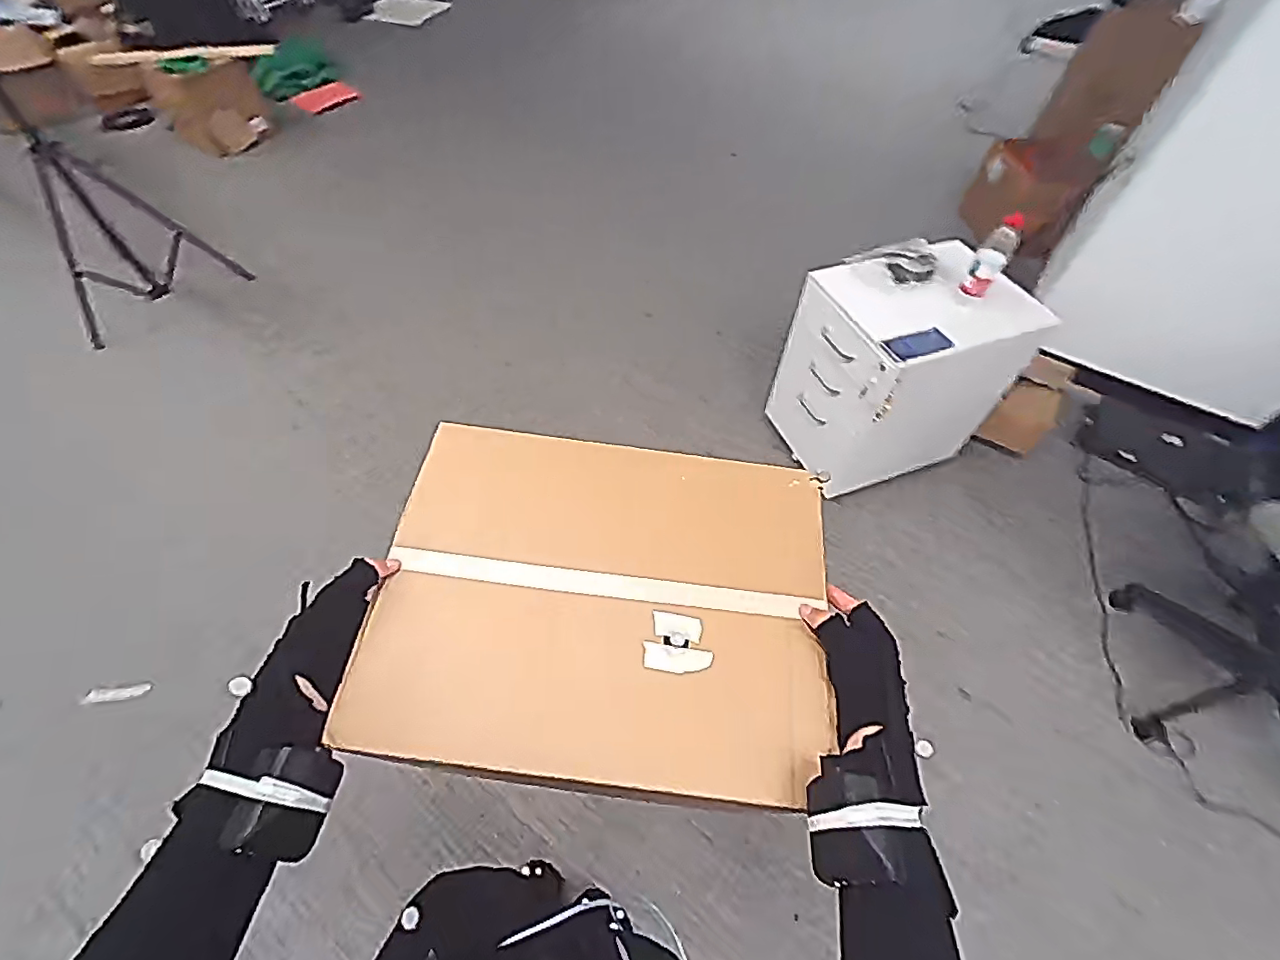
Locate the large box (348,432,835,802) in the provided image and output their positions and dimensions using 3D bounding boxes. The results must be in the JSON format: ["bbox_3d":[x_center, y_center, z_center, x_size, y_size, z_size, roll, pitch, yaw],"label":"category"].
[{"bbox_3d":[-0.036,0.177,0.635,0.408,0.320,0.320,8,59,0],"label":"large box"}]
